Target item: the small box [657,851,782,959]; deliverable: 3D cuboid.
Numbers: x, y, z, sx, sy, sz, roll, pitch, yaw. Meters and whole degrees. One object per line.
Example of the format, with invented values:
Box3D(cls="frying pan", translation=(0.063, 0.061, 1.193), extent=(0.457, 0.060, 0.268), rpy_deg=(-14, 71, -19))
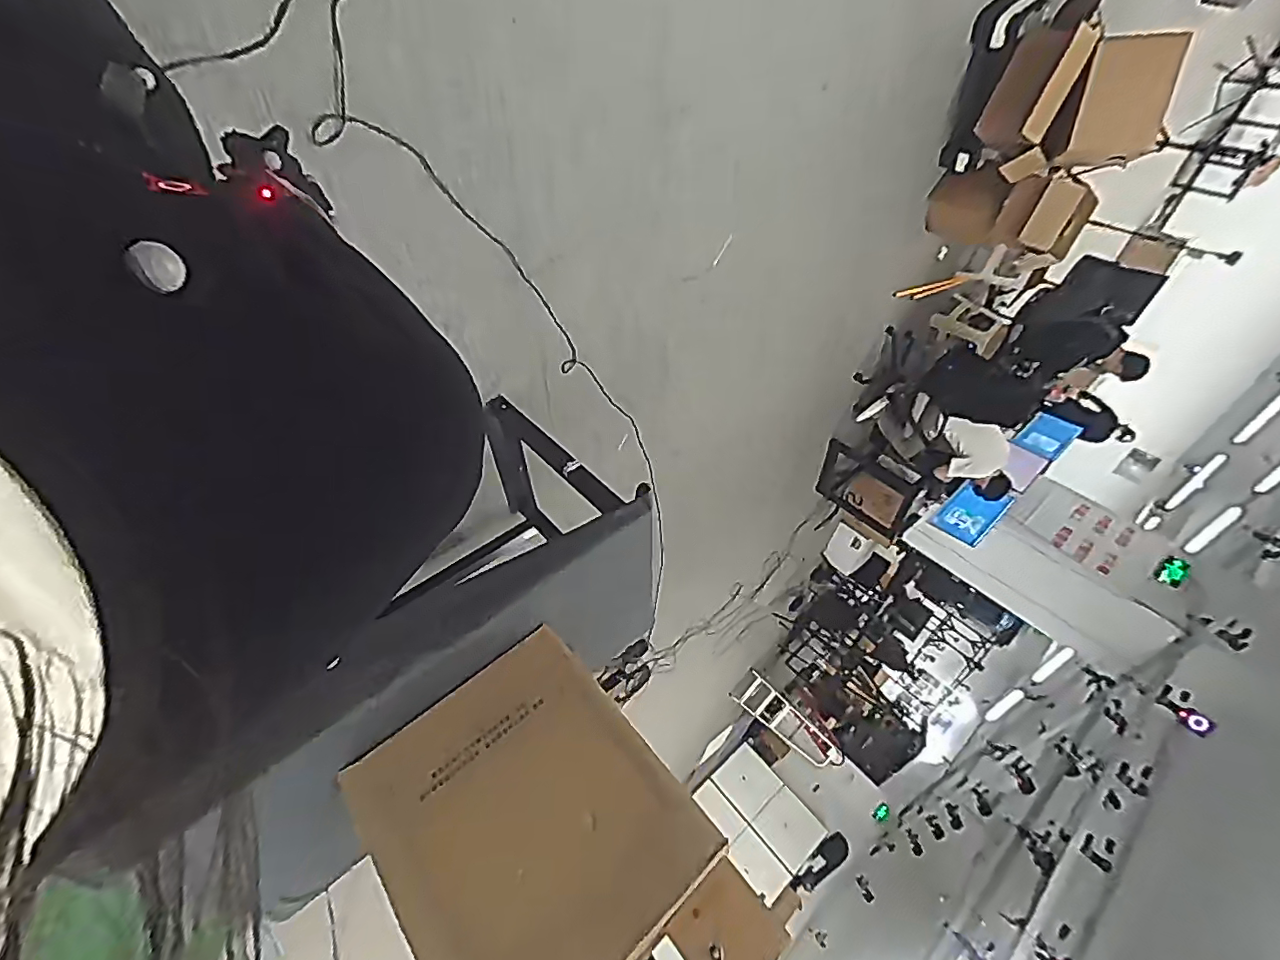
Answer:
Box3D(cls="small box", translation=(0.145, 0.851, 1.031), extent=(0.168, 0.176, 0.179), rpy_deg=(-35, 145, -22))
